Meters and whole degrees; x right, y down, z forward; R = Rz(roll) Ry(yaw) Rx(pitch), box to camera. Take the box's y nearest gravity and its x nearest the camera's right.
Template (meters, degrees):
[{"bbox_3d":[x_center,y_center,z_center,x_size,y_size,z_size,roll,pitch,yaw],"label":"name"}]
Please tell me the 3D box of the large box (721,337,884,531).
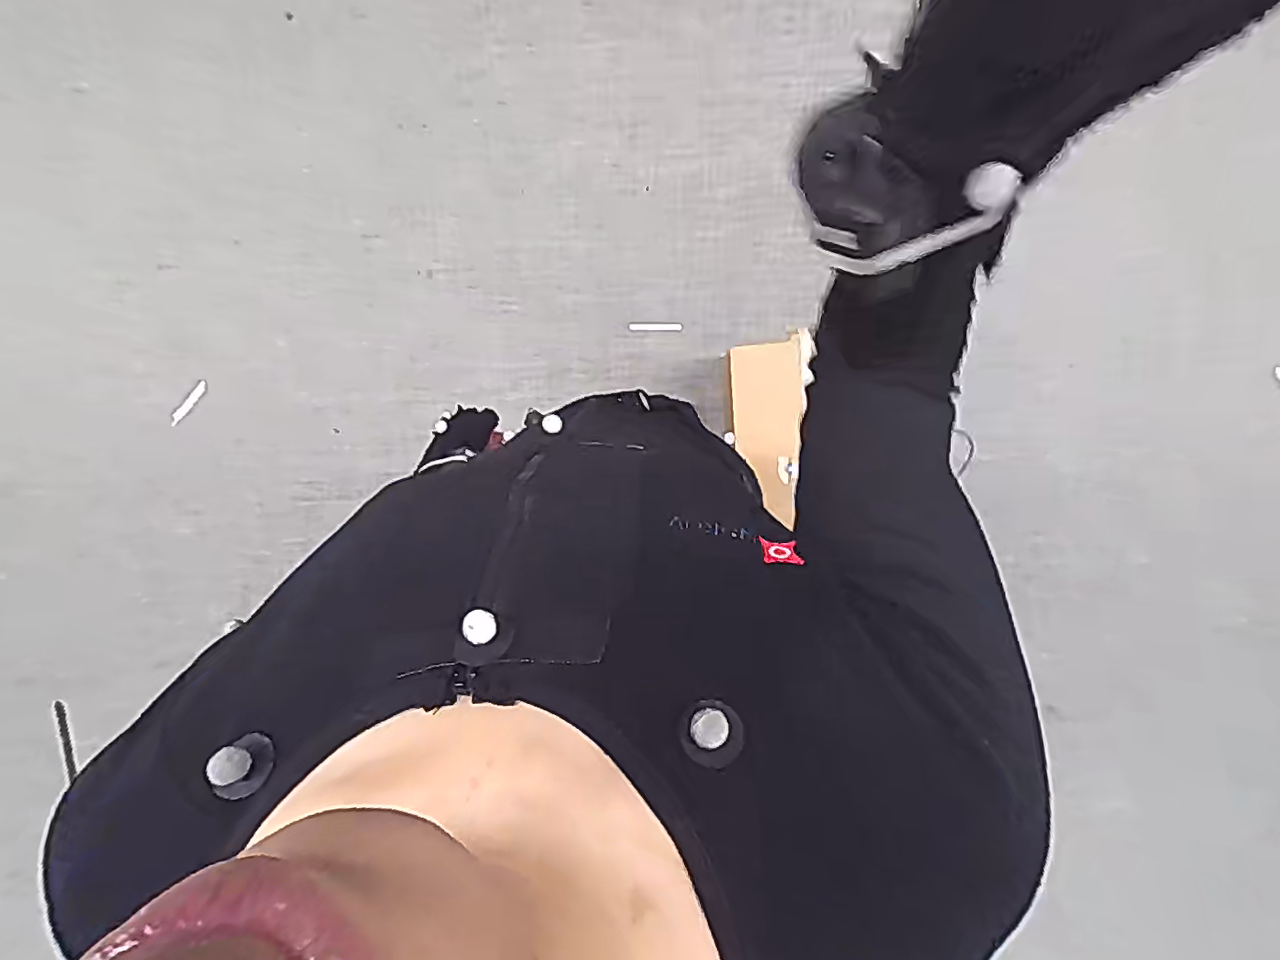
[{"bbox_3d":[0.376,-0.118,1.313,0.320,0.320,0.408,-4,100,6],"label":"large box"}]
